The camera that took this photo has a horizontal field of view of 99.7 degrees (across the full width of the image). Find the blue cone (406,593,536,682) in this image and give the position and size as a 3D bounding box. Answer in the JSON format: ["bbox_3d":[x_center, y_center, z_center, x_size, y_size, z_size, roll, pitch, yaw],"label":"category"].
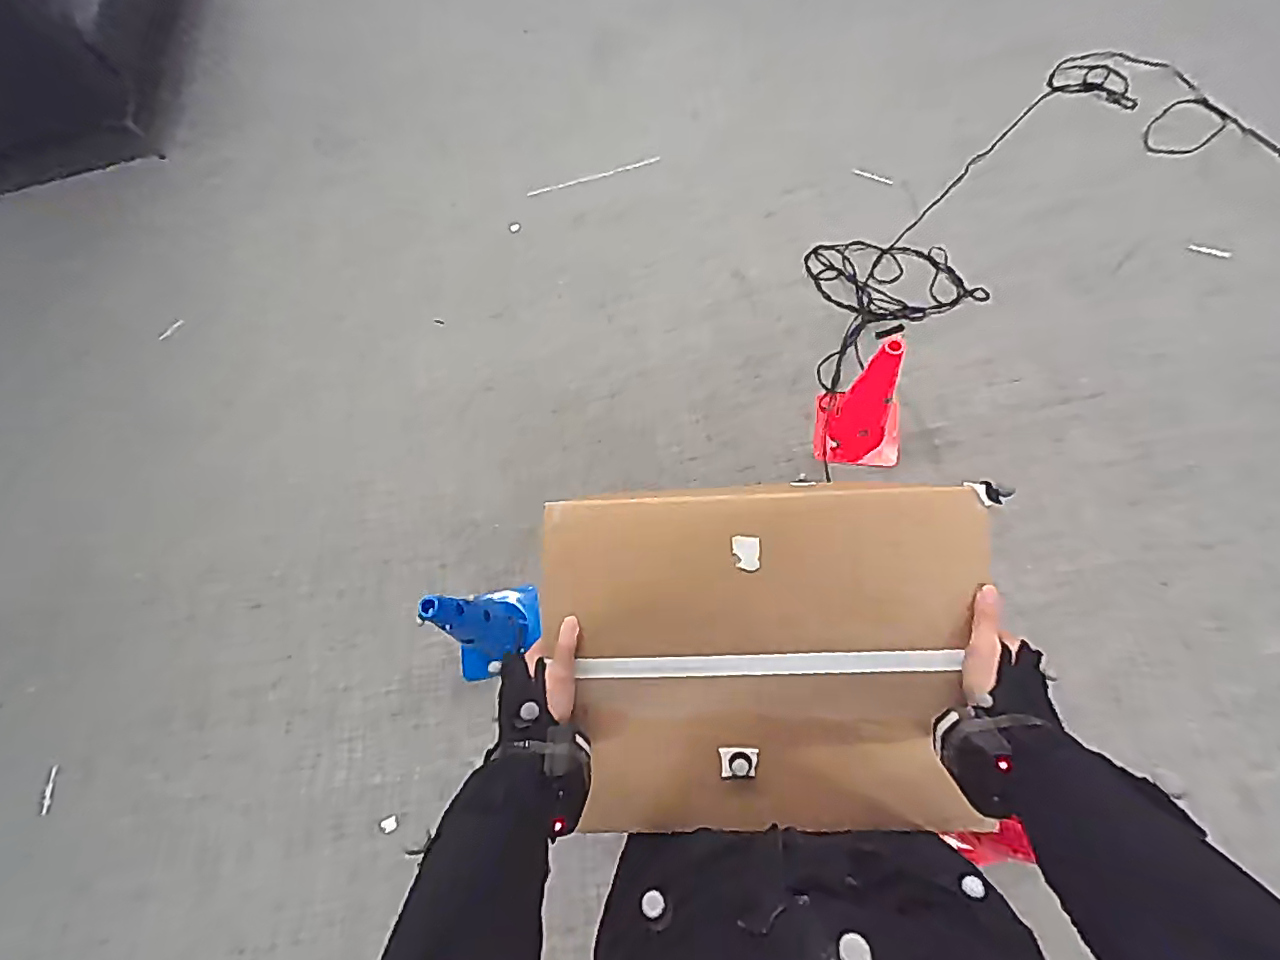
[{"bbox_3d":[-0.372,0.310,1.157,0.192,0.380,0.193,-12,65,5],"label":"blue cone"}]

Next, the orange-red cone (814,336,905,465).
[{"bbox_3d":[0.521,-0.199,1.203,0.199,0.360,0.198,7,69,11],"label":"orange-red cone"}]

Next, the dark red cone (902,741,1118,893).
[{"bbox_3d":[0.589,0.552,0.842,0.202,0.394,0.201,-19,68,2],"label":"dark red cone"}]
